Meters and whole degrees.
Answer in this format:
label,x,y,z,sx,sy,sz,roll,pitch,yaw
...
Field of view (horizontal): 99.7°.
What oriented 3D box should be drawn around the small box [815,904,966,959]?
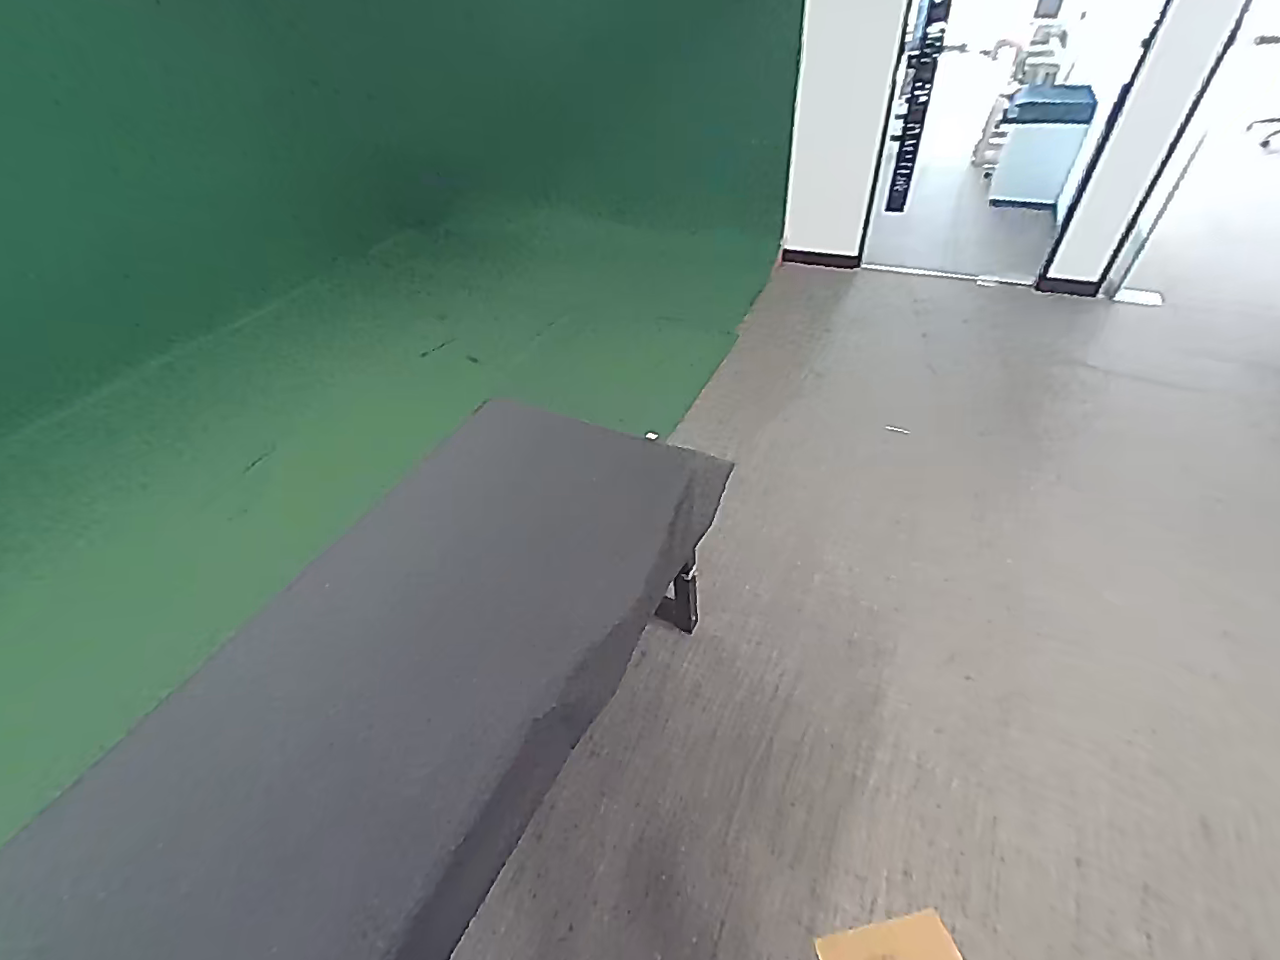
label,x,y,z,sx,sy,sz,roll,pitch,yaw
small box,0.331,0.669,0.640,0.168,0.176,0.179,-16,9,2
